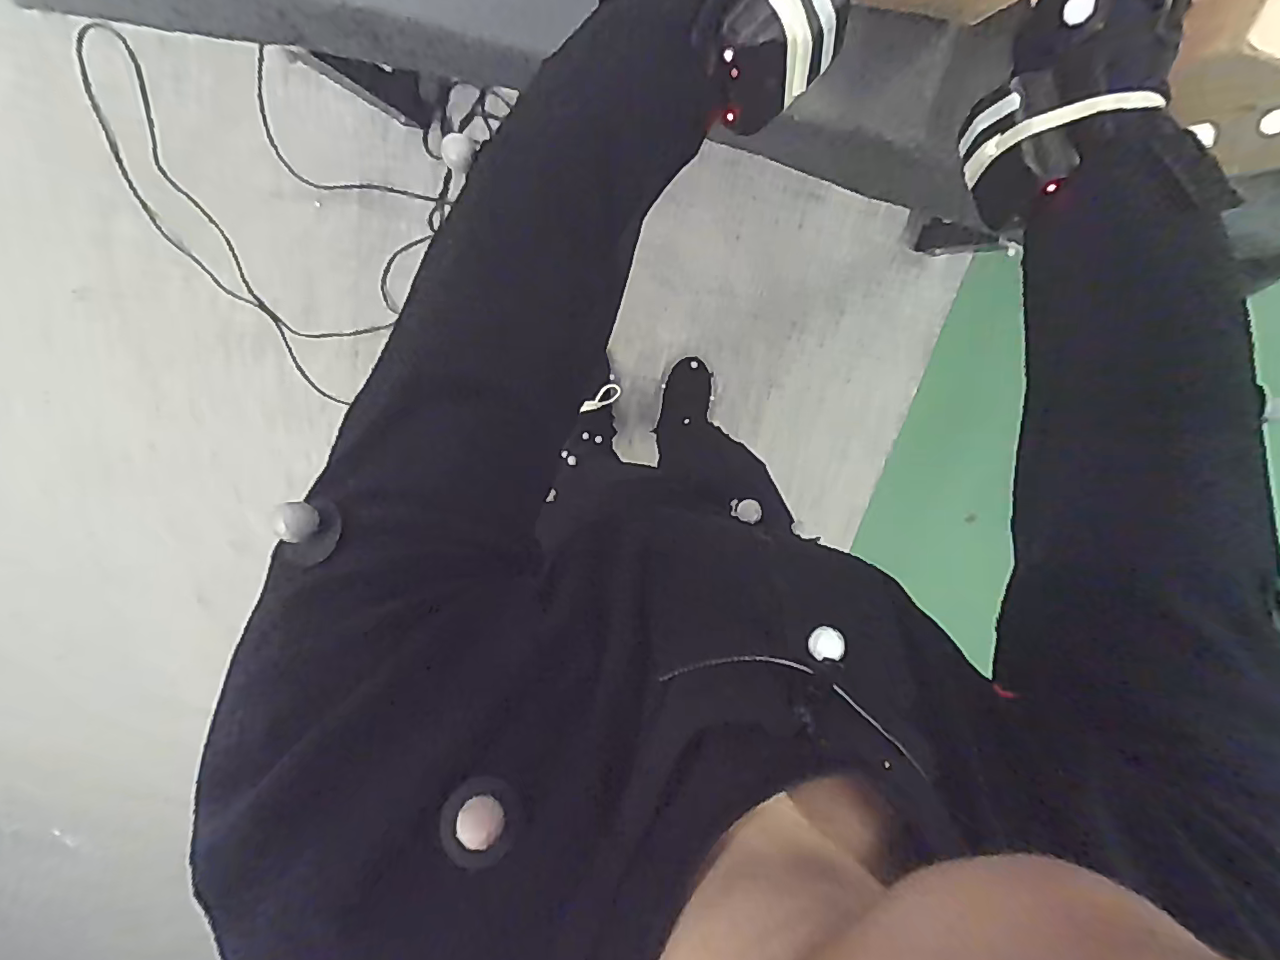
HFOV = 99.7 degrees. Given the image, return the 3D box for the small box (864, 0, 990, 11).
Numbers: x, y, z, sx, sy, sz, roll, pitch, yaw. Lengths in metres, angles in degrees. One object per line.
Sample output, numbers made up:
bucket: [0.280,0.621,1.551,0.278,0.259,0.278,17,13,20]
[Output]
small box: [0.199,-0.424,0.334,0.179,0.176,0.168,9,118,-1]
